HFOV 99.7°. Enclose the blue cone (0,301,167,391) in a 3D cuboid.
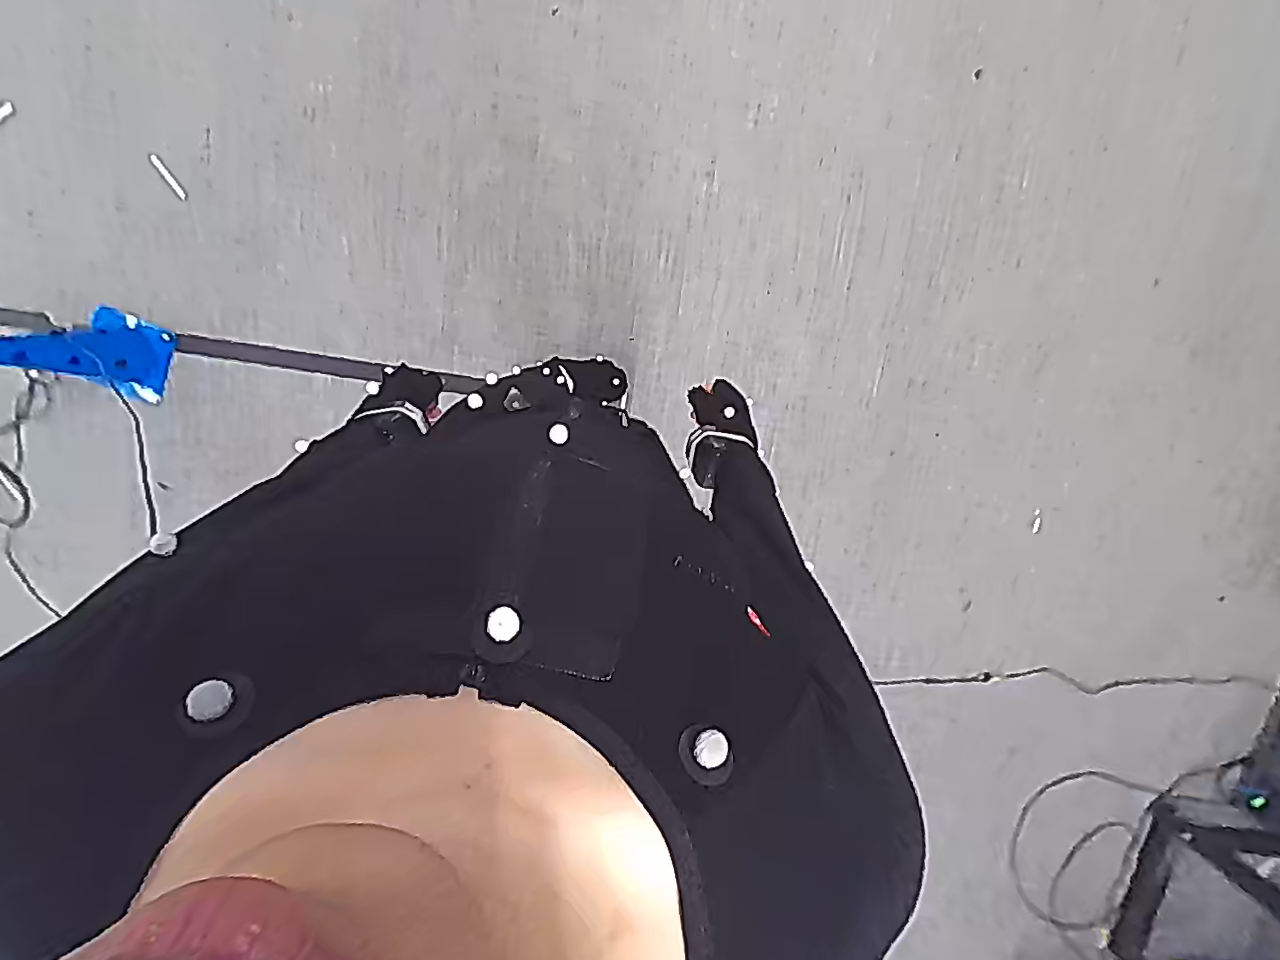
[{"bbox_3d":[-1.288,-0.302,1.188,0.193,0.380,0.192,24,98,-7],"label":"blue cone"}]
